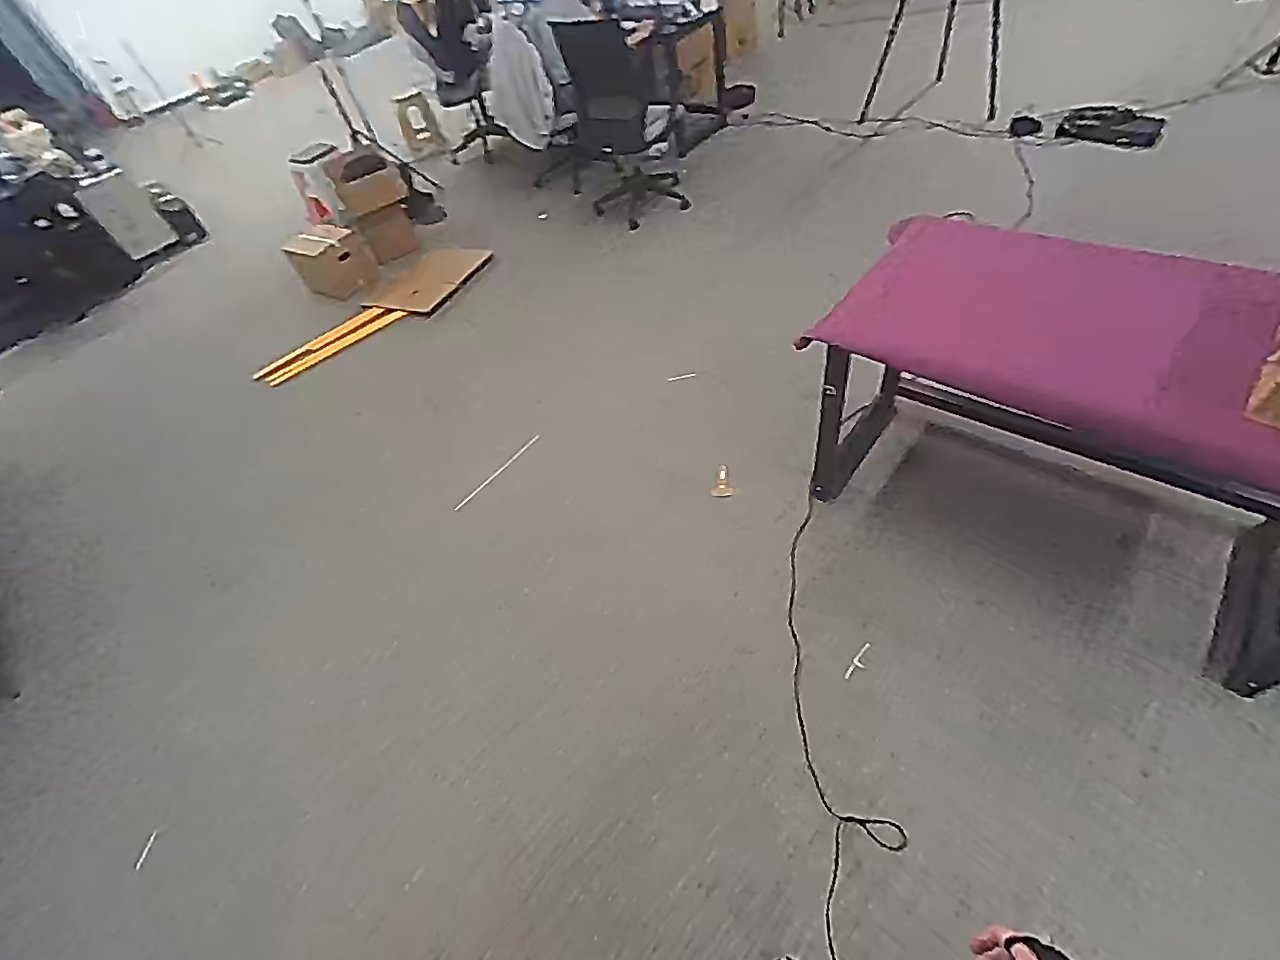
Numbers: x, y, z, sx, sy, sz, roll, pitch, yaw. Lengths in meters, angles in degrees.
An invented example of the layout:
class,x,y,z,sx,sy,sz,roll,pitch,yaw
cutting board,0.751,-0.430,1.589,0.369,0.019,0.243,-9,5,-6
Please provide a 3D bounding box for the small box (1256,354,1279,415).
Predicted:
class,x,y,z,sx,sy,sz,roll,pitch,yaw
small box,1.209,-0.194,0.905,0.179,0.176,0.168,31,64,33
